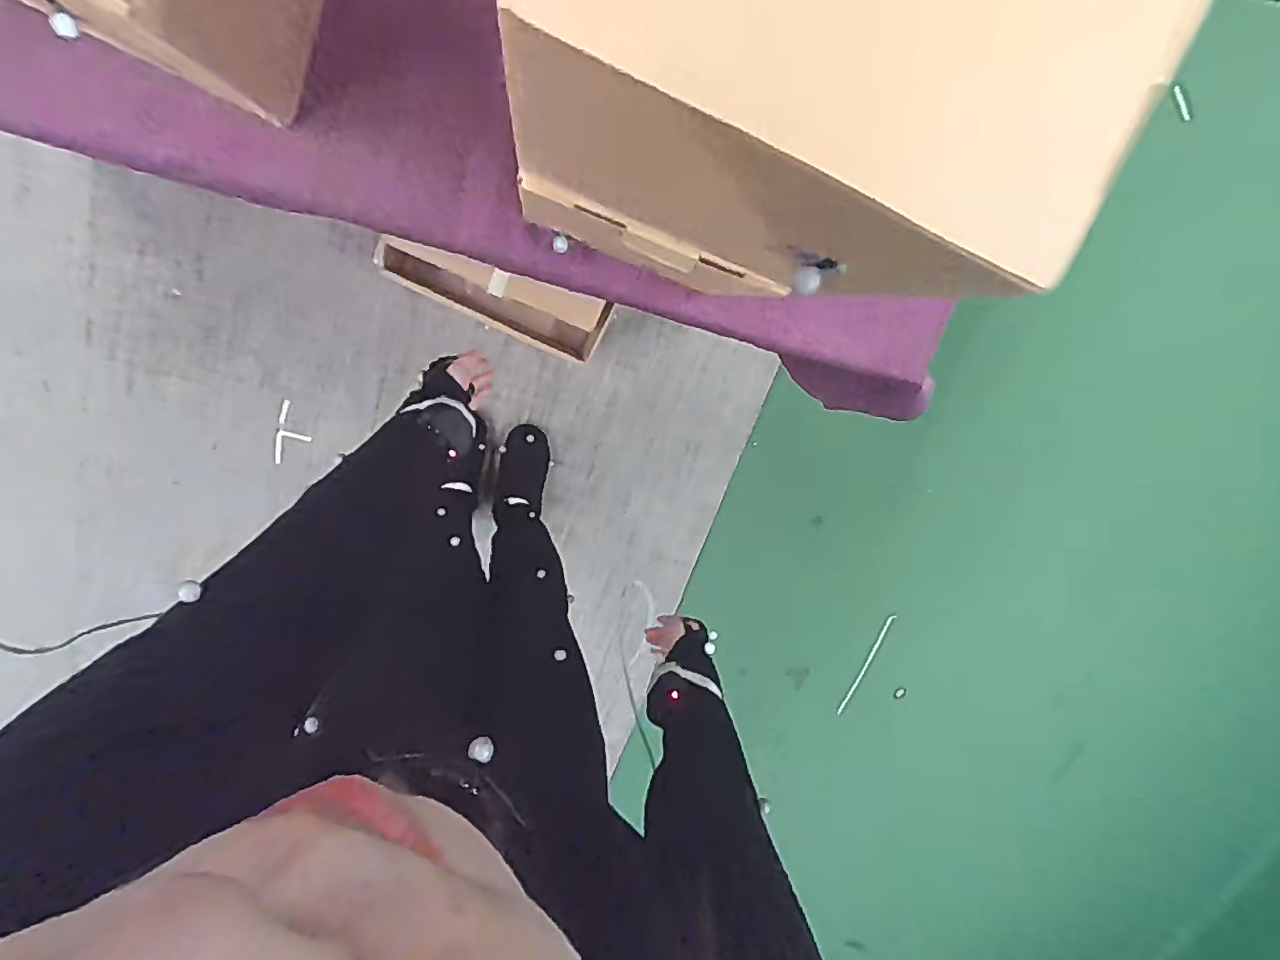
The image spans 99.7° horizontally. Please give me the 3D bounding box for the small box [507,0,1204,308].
[{"bbox_3d":[0.062,-0.179,0.201,0.179,0.176,0.168,17,105,-16],"label":"small box"}]

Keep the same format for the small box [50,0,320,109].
[{"bbox_3d":[-0.266,-0.328,0.260,0.168,0.176,0.179,21,106,-18],"label":"small box"}]

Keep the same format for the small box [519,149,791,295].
[{"bbox_3d":[0.028,-0.235,0.351,0.168,0.176,0.179,16,106,-16],"label":"small box"}]
